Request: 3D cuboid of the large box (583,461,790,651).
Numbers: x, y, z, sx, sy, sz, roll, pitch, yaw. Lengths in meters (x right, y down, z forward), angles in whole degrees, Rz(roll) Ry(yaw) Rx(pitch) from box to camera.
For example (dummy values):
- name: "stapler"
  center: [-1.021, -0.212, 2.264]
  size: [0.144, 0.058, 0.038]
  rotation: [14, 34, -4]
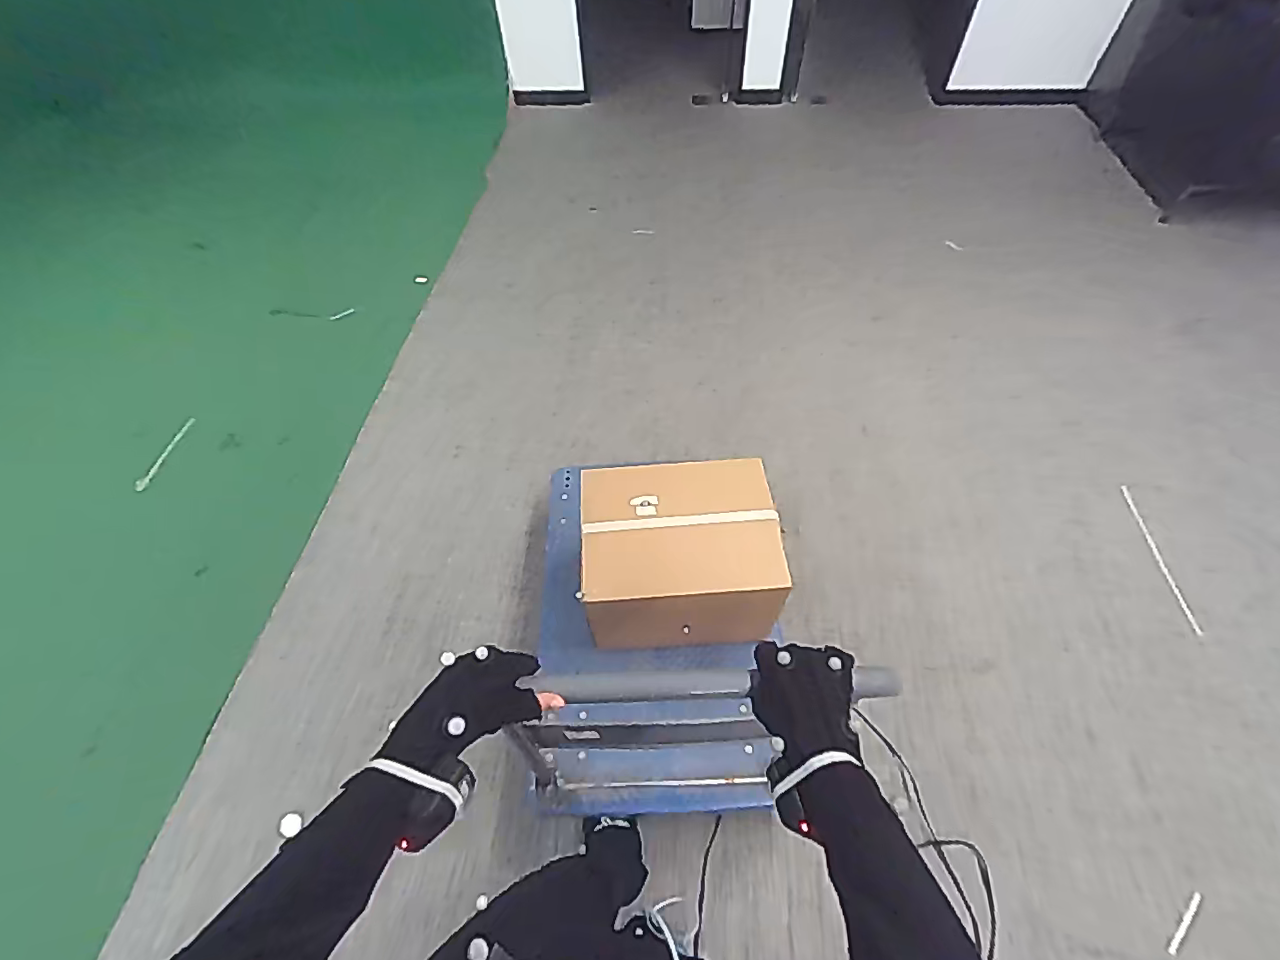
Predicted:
- name: "large box"
  center: [0.092, 0.184, 1.250]
  size: [0.408, 0.320, 0.320]
  rotation: [-6, 55, 0]
